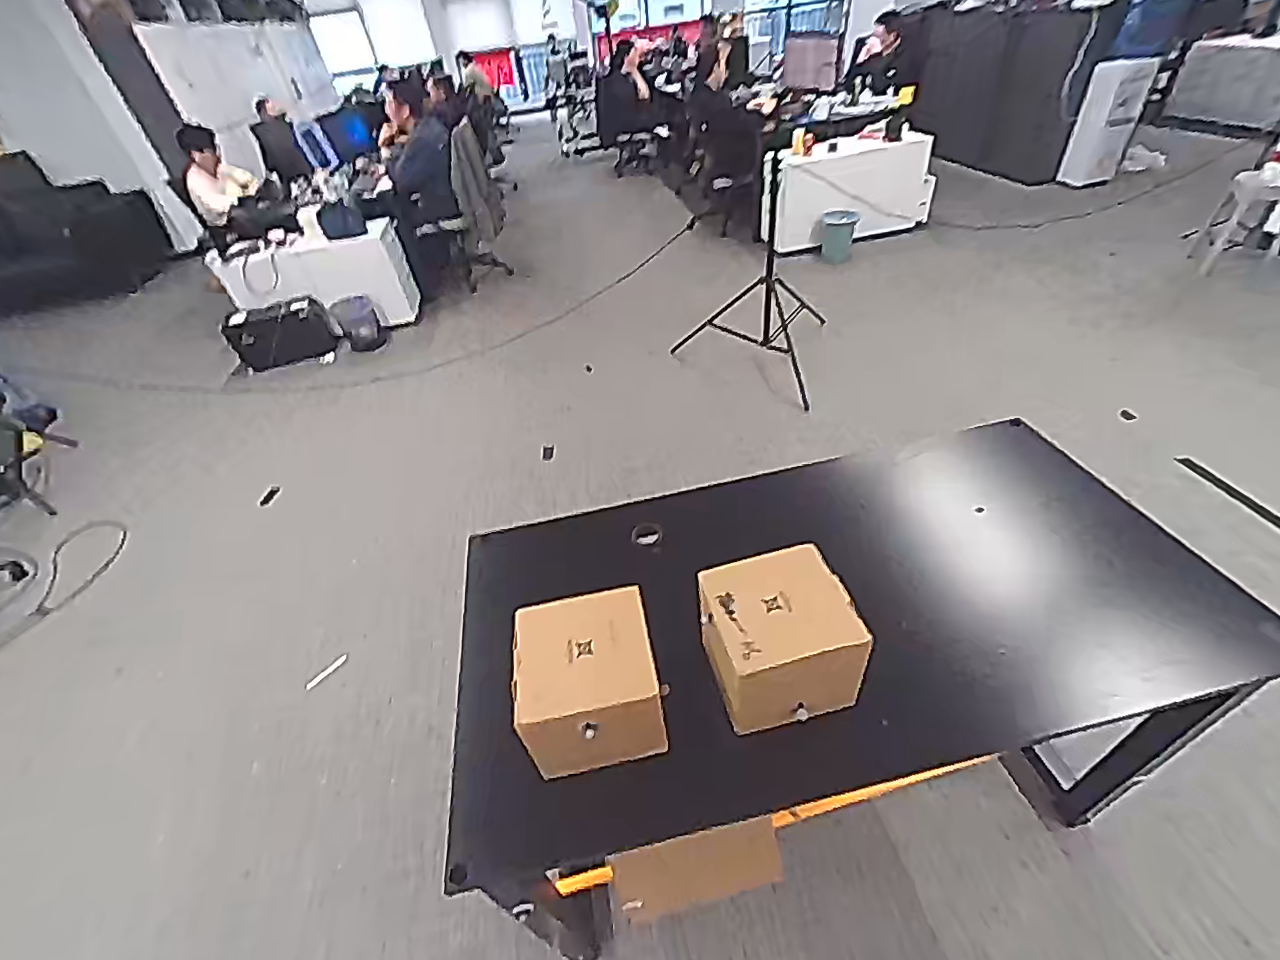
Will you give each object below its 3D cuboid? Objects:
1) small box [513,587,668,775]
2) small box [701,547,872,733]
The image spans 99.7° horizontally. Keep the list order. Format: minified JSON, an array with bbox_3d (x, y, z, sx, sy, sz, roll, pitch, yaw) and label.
[{"bbox_3d":[-0.067,0.278,0.743,0.179,0.176,0.168,-11,42,-4],"label":"small box"},{"bbox_3d":[0.191,0.224,0.759,0.179,0.176,0.168,-13,41,-5],"label":"small box"}]
